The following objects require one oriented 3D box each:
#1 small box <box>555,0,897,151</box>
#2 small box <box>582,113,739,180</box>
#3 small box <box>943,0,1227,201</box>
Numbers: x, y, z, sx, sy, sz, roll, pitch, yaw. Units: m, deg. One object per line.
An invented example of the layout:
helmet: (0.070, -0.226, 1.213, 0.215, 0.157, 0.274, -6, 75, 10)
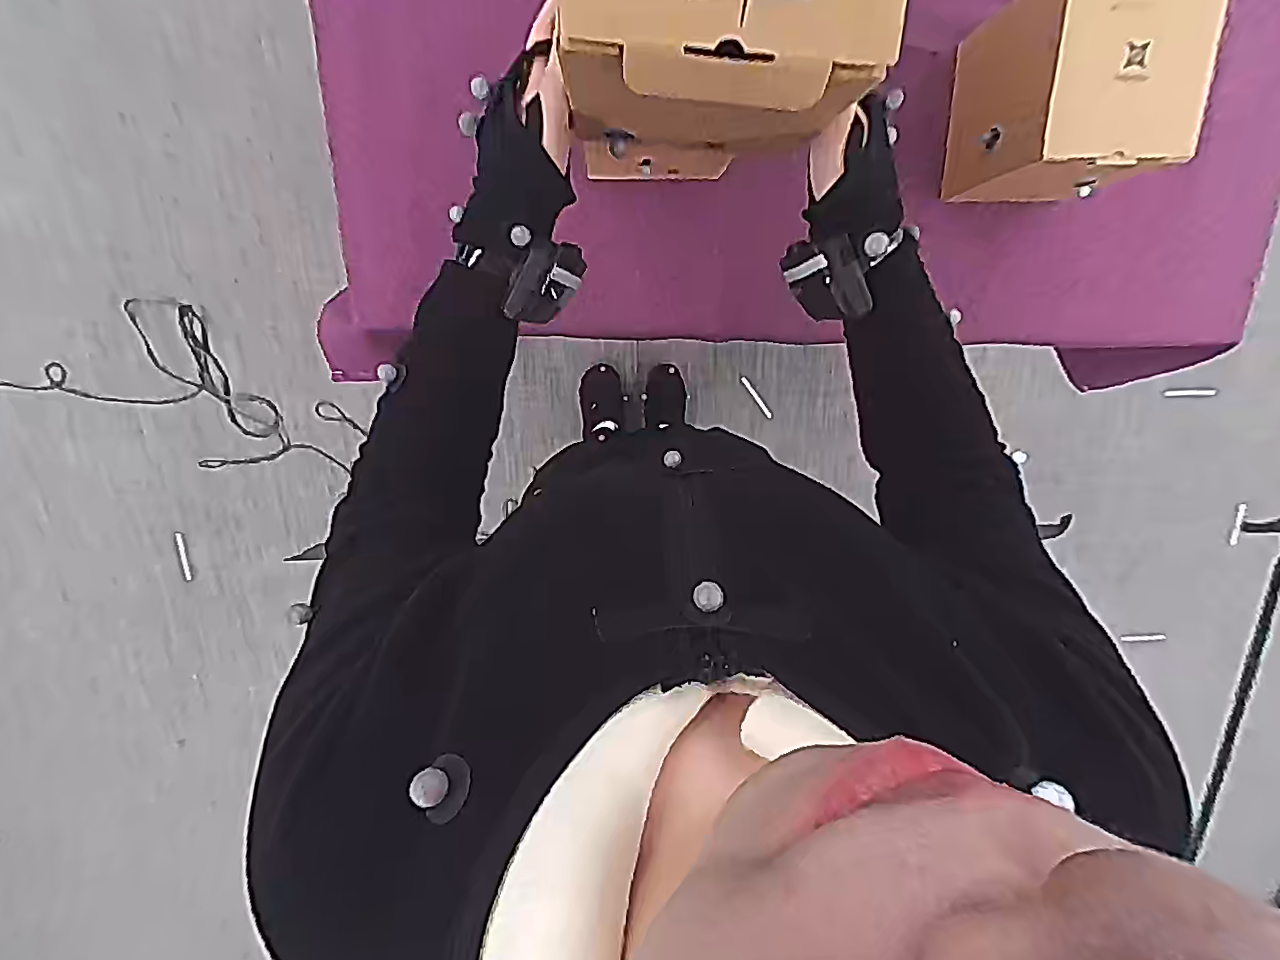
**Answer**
small box: (0.043, -0.313, 0.314, 0.168, 0.176, 0.179, 3, 107, -4)
small box: (0.021, -0.435, 0.565, 0.168, 0.176, 0.179, -2, 106, -4)
small box: (0.469, -0.422, 0.600, 0.168, 0.176, 0.179, -2, 105, -4)
